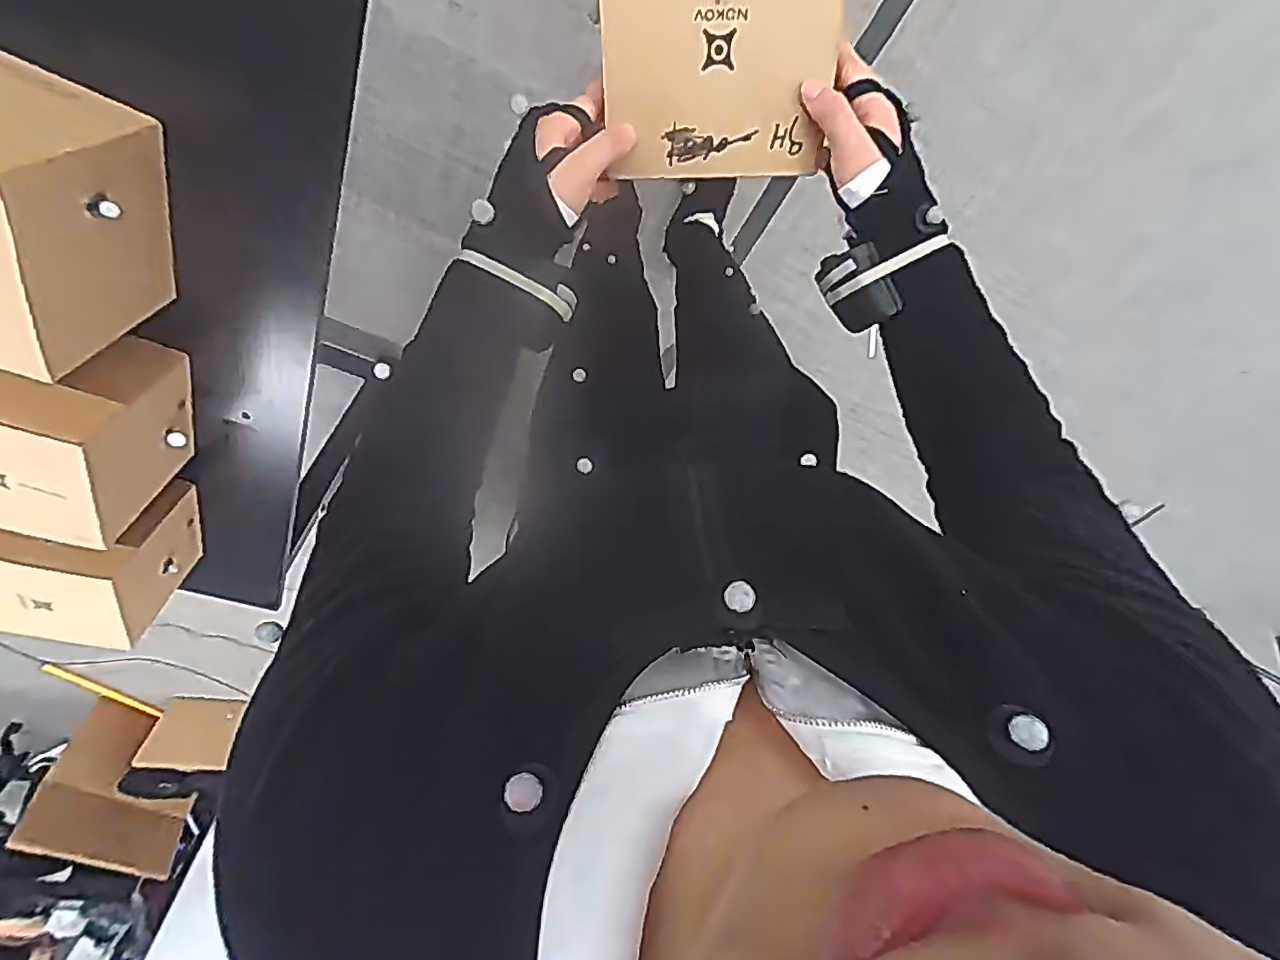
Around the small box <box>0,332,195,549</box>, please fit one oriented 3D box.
[{"bbox_3d":[-0.613,-0.061,0.564,0.179,0.176,0.168,19,129,-19],"label":"small box"}]

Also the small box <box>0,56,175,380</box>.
[{"bbox_3d":[-0.513,-0.218,0.425,0.168,0.176,0.179,20,130,-18],"label":"small box"}]

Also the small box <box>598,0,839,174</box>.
[{"bbox_3d":[0.051,-0.358,0.432,0.168,0.176,0.179,-1,128,1],"label":"small box"}]
